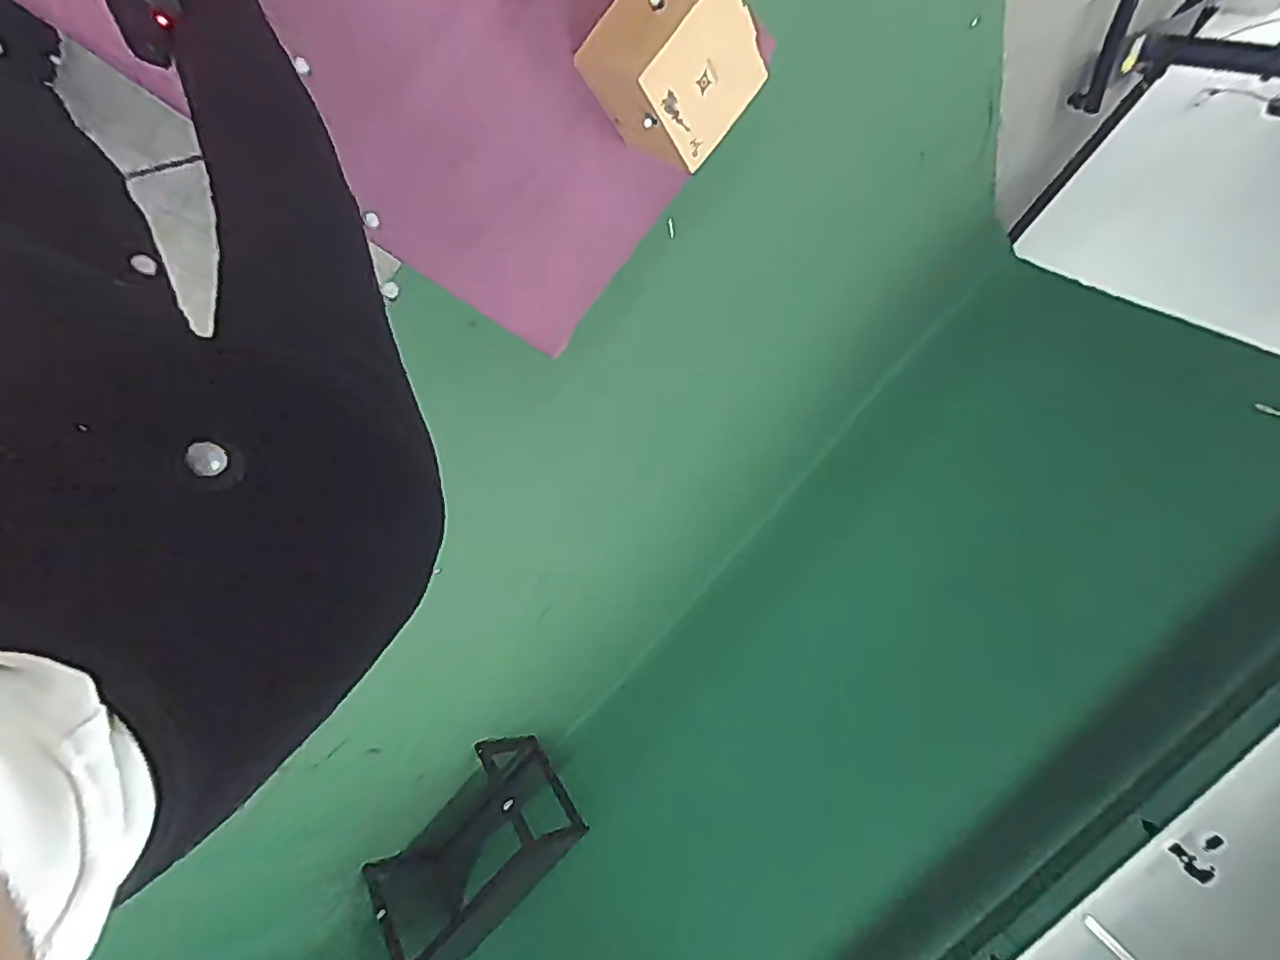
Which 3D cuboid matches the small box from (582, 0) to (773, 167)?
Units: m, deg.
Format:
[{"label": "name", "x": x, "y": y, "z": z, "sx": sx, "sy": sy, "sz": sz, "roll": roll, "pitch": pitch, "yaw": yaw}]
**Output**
[{"label": "small box", "x": 0.050, "y": -0.597, "z": 0.770, "sx": 0.179, "sy": 0.176, "sz": 0.168, "roll": -50, "pitch": 144, "yaw": 8}]
